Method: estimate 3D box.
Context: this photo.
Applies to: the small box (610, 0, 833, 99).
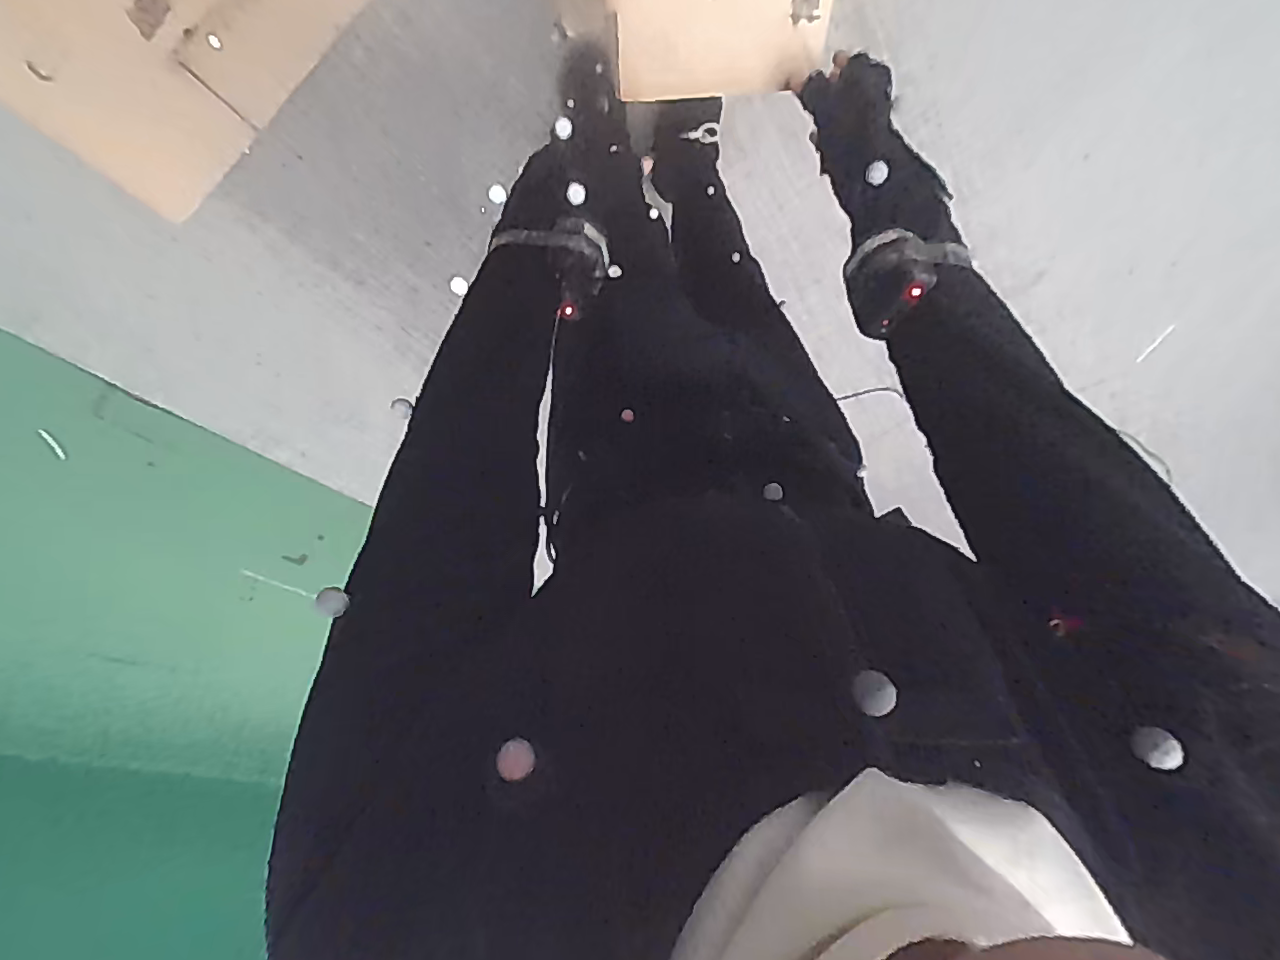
[{"bbox_3d":[0.059,-0.450,0.459,0.179,0.176,0.168,-7,139,0],"label":"small box"}]
